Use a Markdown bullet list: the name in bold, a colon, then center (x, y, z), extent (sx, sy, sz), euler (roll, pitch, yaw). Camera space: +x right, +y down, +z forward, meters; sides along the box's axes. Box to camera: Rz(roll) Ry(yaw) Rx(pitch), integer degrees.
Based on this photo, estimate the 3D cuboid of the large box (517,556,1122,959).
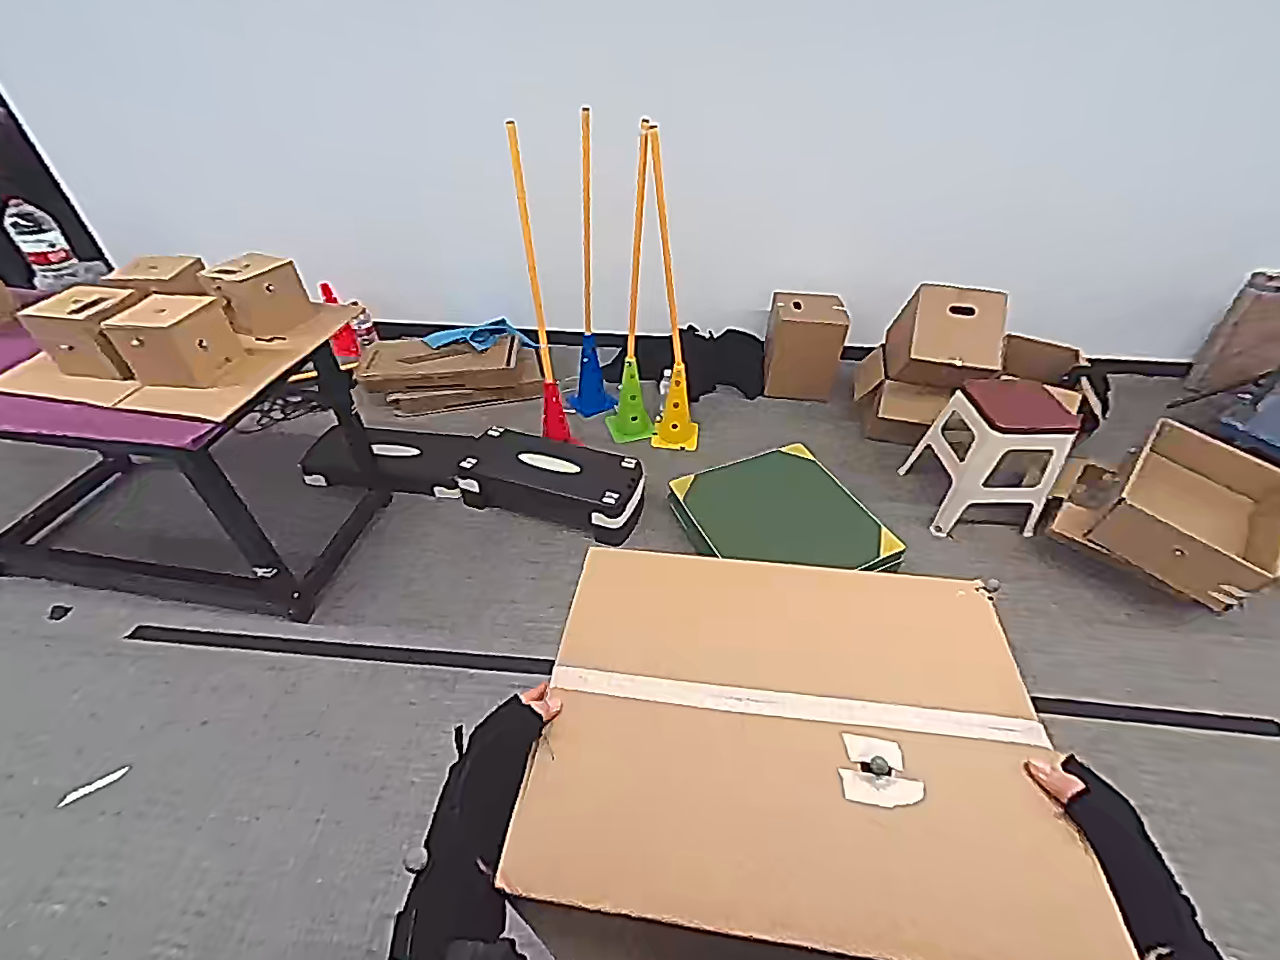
- **large box**: center (0.130, 0.308, 0.565), extent (0.408, 0.320, 0.320), euler (4, 42, 8)
